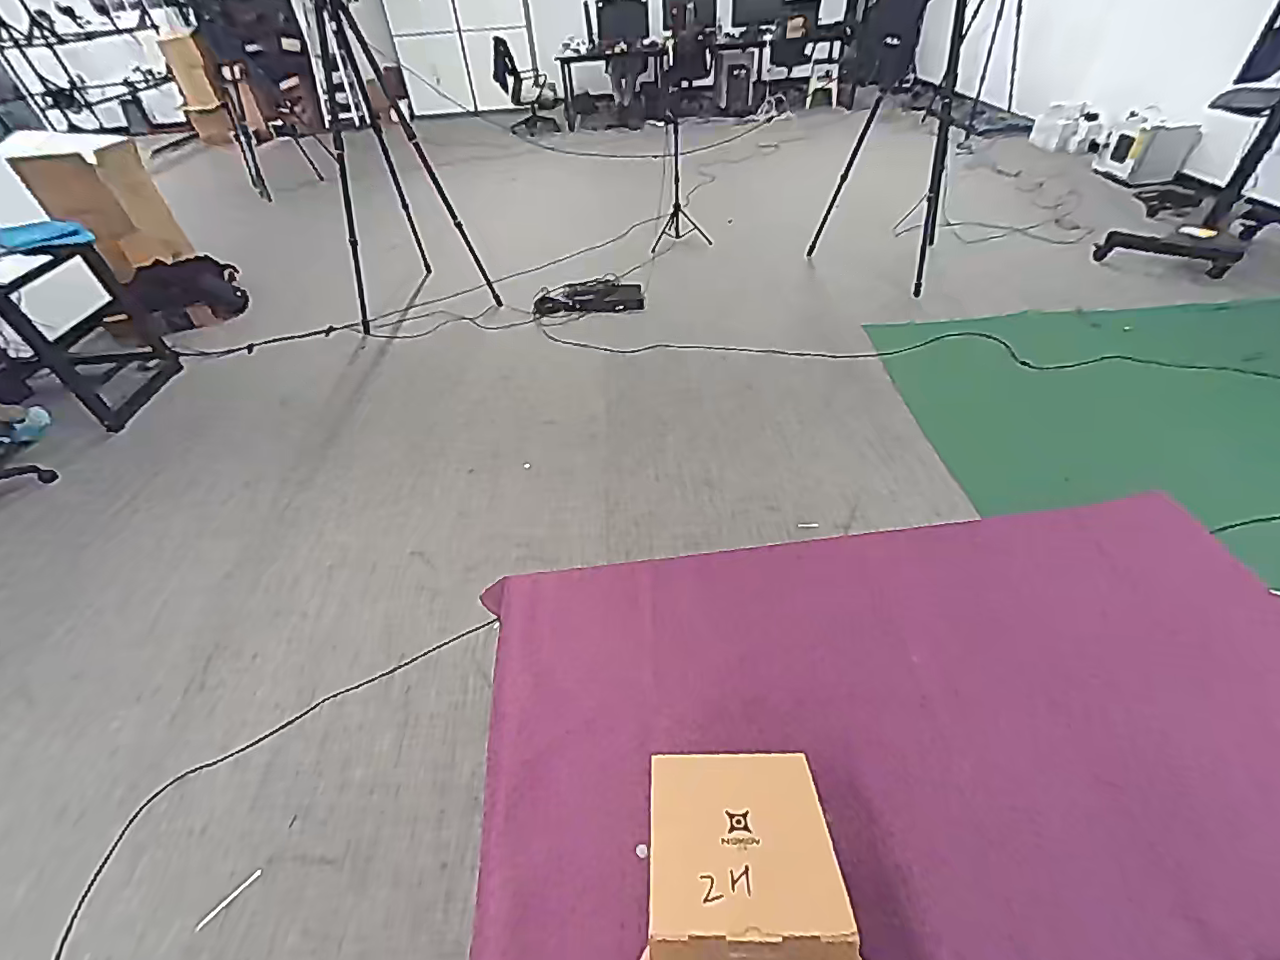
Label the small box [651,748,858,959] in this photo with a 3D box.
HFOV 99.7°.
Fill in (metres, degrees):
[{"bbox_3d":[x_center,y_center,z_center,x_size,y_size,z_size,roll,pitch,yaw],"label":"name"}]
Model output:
[{"bbox_3d":[0.097,0.397,0.533,0.168,0.176,0.179,-3,23,3],"label":"small box"}]
